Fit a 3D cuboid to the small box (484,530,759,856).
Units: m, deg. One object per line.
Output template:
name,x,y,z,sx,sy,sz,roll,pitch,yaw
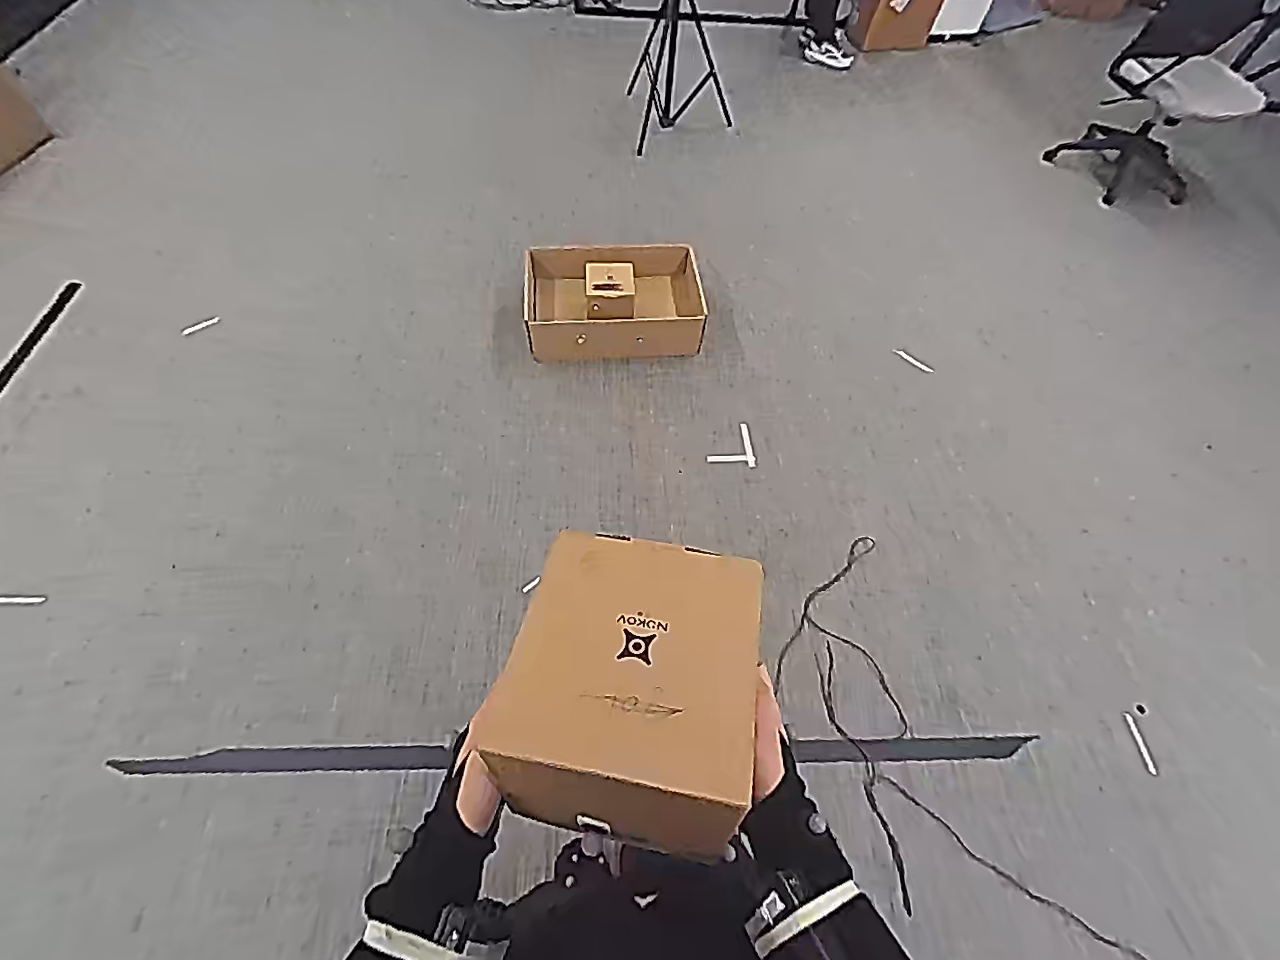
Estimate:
small box,-0.004,0.169,0.435,0.168,0.176,0.179,8,47,7
